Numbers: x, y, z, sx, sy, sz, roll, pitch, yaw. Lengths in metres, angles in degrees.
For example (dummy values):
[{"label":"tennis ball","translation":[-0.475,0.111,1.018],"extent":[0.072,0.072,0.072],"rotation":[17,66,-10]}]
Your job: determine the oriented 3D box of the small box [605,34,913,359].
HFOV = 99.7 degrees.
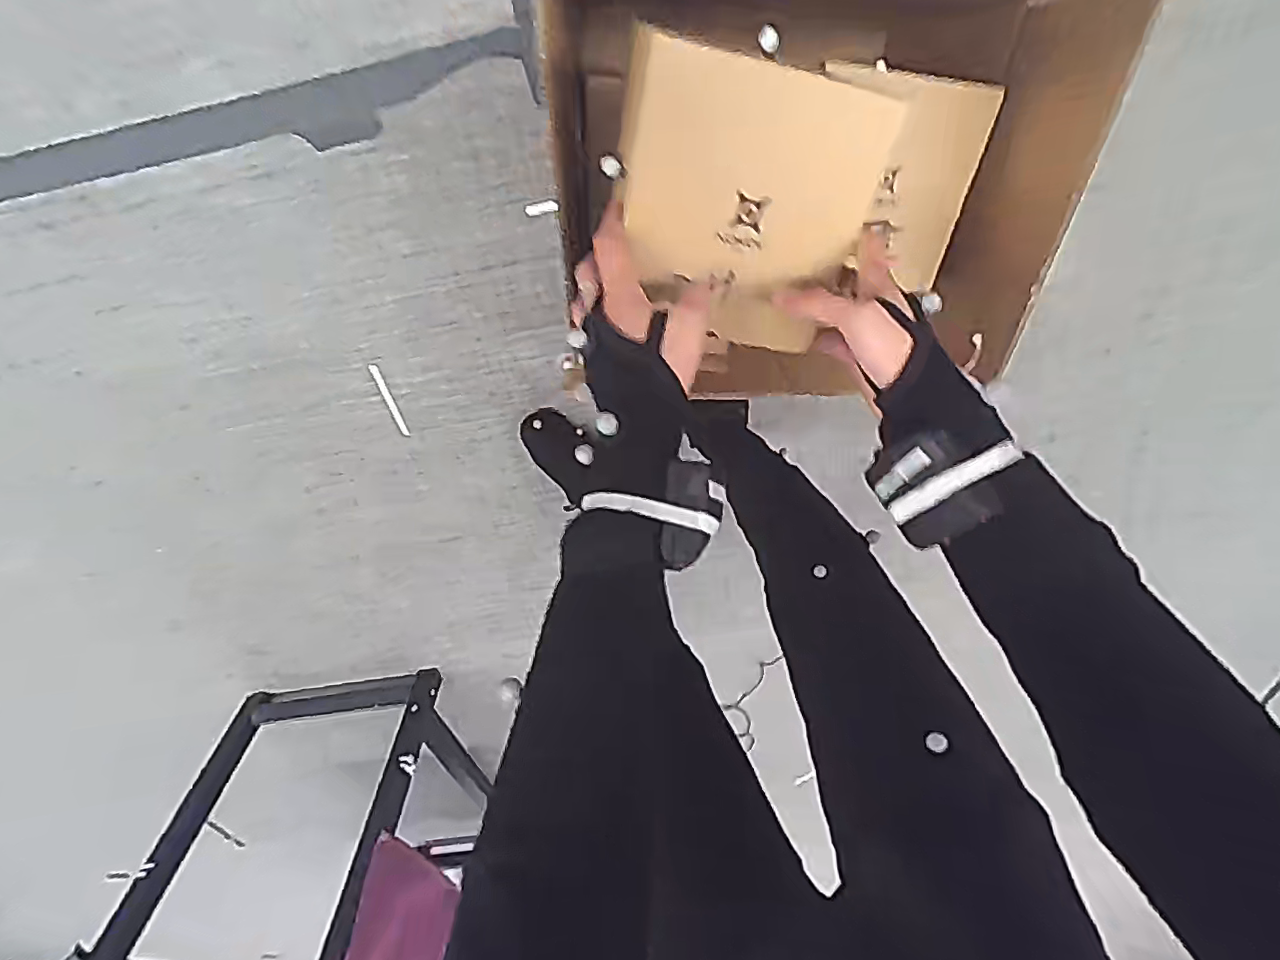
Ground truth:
[{"label":"small box","translation":[0.066,-0.223,0.427],"extent":[0.168,0.176,0.179],"rotation":[6,132,-11]}]
